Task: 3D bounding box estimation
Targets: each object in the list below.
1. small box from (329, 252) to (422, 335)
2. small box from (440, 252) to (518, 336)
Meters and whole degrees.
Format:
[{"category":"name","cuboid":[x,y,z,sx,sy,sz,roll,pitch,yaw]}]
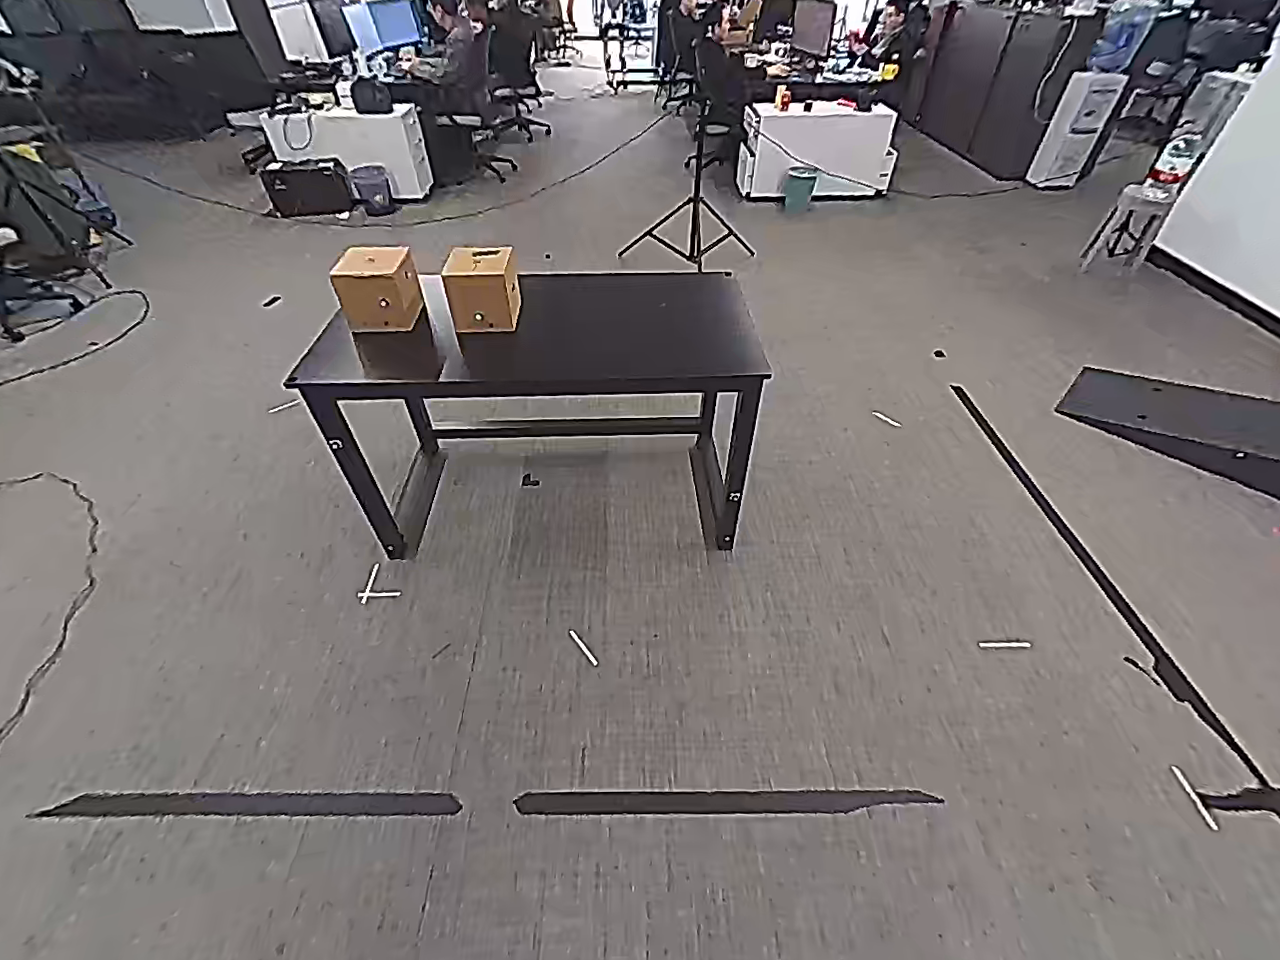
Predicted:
[{"category":"small box","cuboid":[-0.727,-0.519,1.511,0.168,0.176,0.179,-2,44,-4]},{"category":"small box","cuboid":[-0.440,-0.520,1.512,0.168,0.176,0.179,-2,45,-2]}]
